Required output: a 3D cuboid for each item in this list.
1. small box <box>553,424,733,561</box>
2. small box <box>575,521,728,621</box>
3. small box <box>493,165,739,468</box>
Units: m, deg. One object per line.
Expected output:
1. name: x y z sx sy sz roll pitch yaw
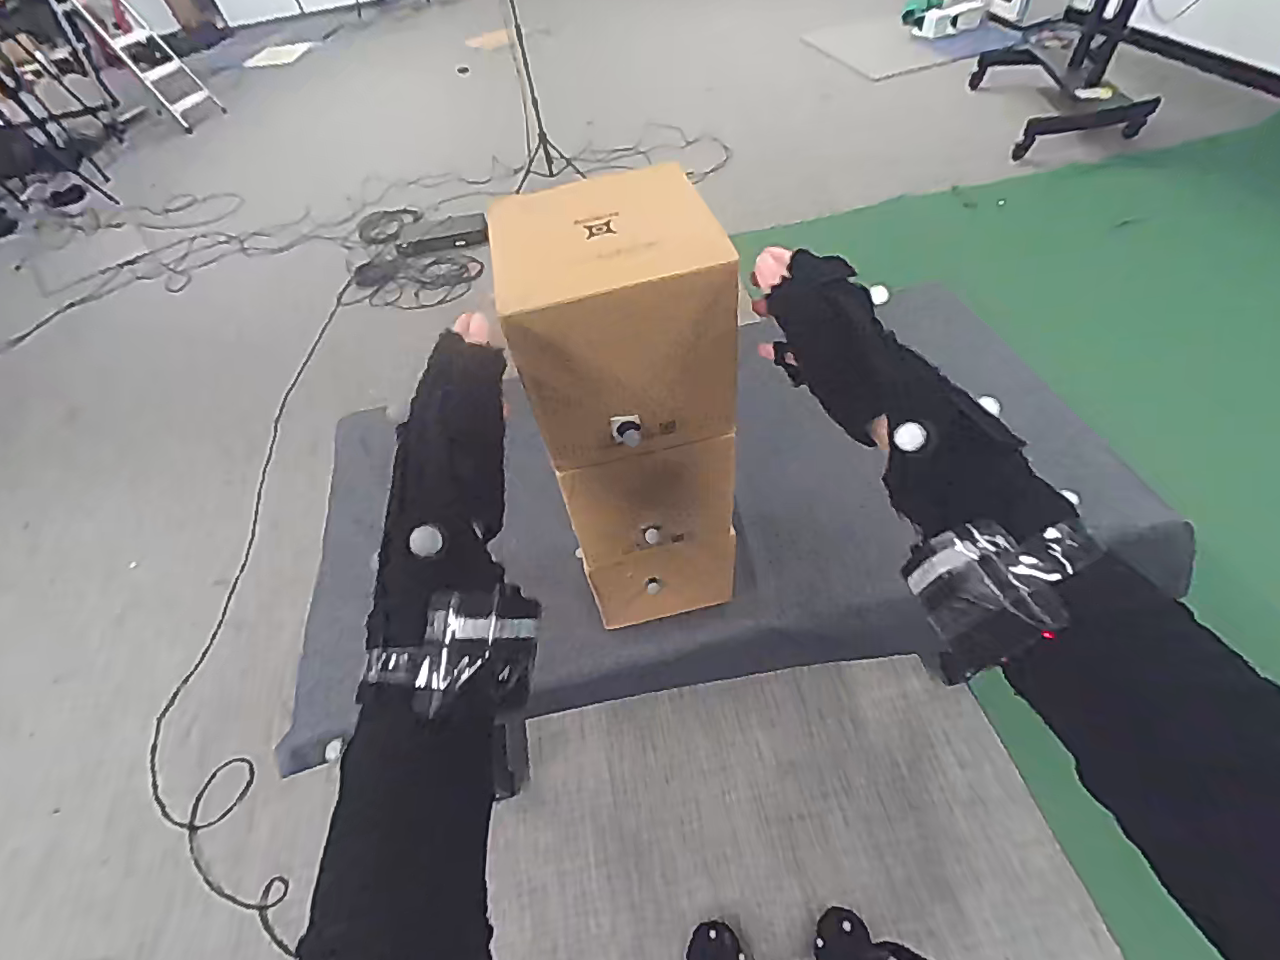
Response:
1. small box: -0.004 -0.037 0.595 0.168 0.176 0.179 -12 52 -2
2. small box: 0.013 0.068 0.720 0.179 0.176 0.168 -13 51 -2
3. small box: -0.021 -0.139 0.469 0.168 0.176 0.179 -13 51 -2
